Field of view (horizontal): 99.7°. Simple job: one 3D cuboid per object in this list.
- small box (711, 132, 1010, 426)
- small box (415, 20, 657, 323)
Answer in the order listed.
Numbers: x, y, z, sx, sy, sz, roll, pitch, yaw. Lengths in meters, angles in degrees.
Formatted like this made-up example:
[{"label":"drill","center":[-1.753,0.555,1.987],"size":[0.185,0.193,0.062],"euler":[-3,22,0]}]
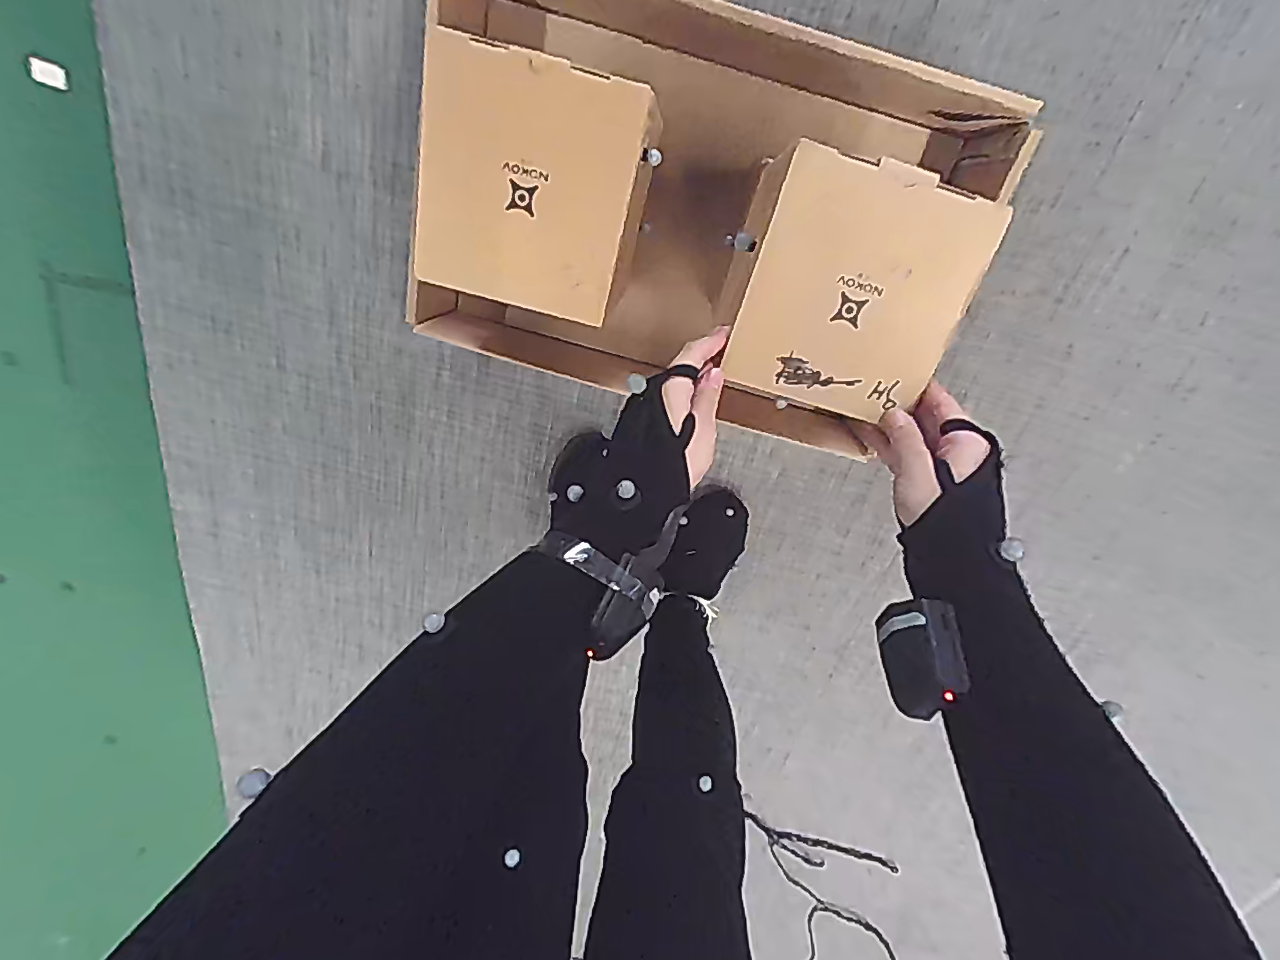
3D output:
[{"label":"small box","center":[0.168,-0.173,0.485],"size":[0.168,0.176,0.179],"euler":[16,113,-4]},{"label":"small box","center":[-0.084,-0.263,0.491],"size":[0.168,0.176,0.179],"euler":[14,115,-2]}]
